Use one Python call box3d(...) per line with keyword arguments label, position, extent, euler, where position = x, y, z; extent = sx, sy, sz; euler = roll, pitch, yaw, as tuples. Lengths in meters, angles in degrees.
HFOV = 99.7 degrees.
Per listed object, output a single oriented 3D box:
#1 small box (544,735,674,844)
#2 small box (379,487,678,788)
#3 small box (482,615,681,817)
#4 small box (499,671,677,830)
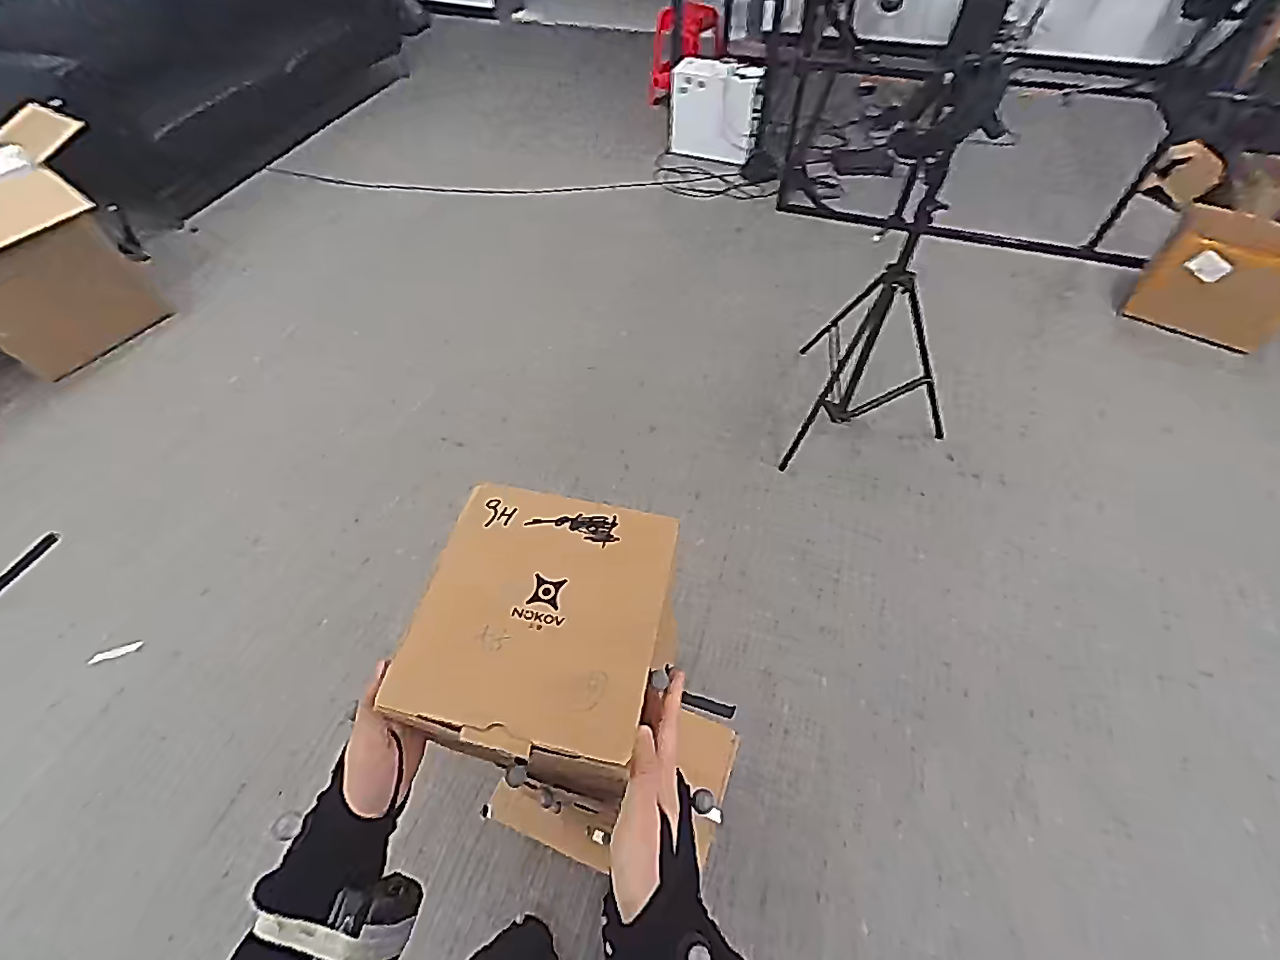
box3d(label="small box", position=(-0.047, 0.529, 0.963), extent=(0.179, 0.176, 0.168), euler=(15, 57, 11))
box3d(label="small box", position=(-0.066, 0.133, 0.437), extent=(0.168, 0.176, 0.179), euler=(10, 57, 7))
box3d(label="small box", position=(-0.061, 0.230, 0.573), extent=(0.168, 0.176, 0.179), euler=(14, 57, 12))
box3d(label="small box", position=(-0.058, 0.329, 0.705), extent=(0.168, 0.176, 0.179), euler=(15, 57, 12))
